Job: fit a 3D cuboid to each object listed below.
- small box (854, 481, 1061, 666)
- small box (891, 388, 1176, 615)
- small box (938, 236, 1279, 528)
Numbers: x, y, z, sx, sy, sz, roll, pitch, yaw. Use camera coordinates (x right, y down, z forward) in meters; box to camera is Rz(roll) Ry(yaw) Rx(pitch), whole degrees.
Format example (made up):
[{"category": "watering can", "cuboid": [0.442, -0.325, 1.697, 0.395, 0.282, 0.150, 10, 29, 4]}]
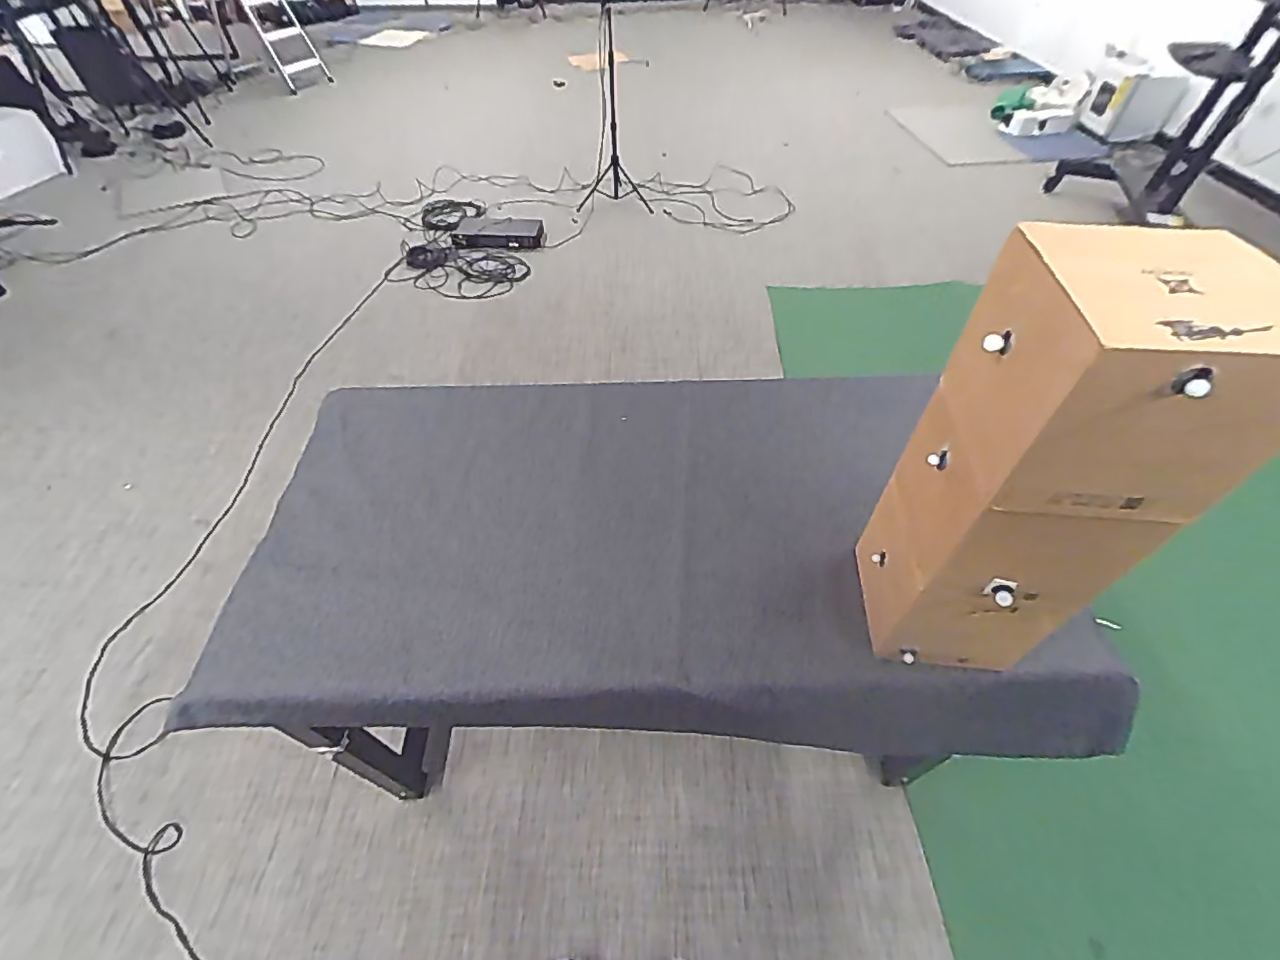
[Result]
[{"category": "small box", "cuboid": [0.395, 0.125, 0.708, 0.168, 0.176, 0.179, 5, 48, 5]}, {"category": "small box", "cuboid": [0.390, 0.022, 0.583, 0.168, 0.176, 0.179, 4, 50, 6]}, {"category": "small box", "cuboid": [0.381, -0.084, 0.458, 0.168, 0.176, 0.179, 4, 48, 6]}]
